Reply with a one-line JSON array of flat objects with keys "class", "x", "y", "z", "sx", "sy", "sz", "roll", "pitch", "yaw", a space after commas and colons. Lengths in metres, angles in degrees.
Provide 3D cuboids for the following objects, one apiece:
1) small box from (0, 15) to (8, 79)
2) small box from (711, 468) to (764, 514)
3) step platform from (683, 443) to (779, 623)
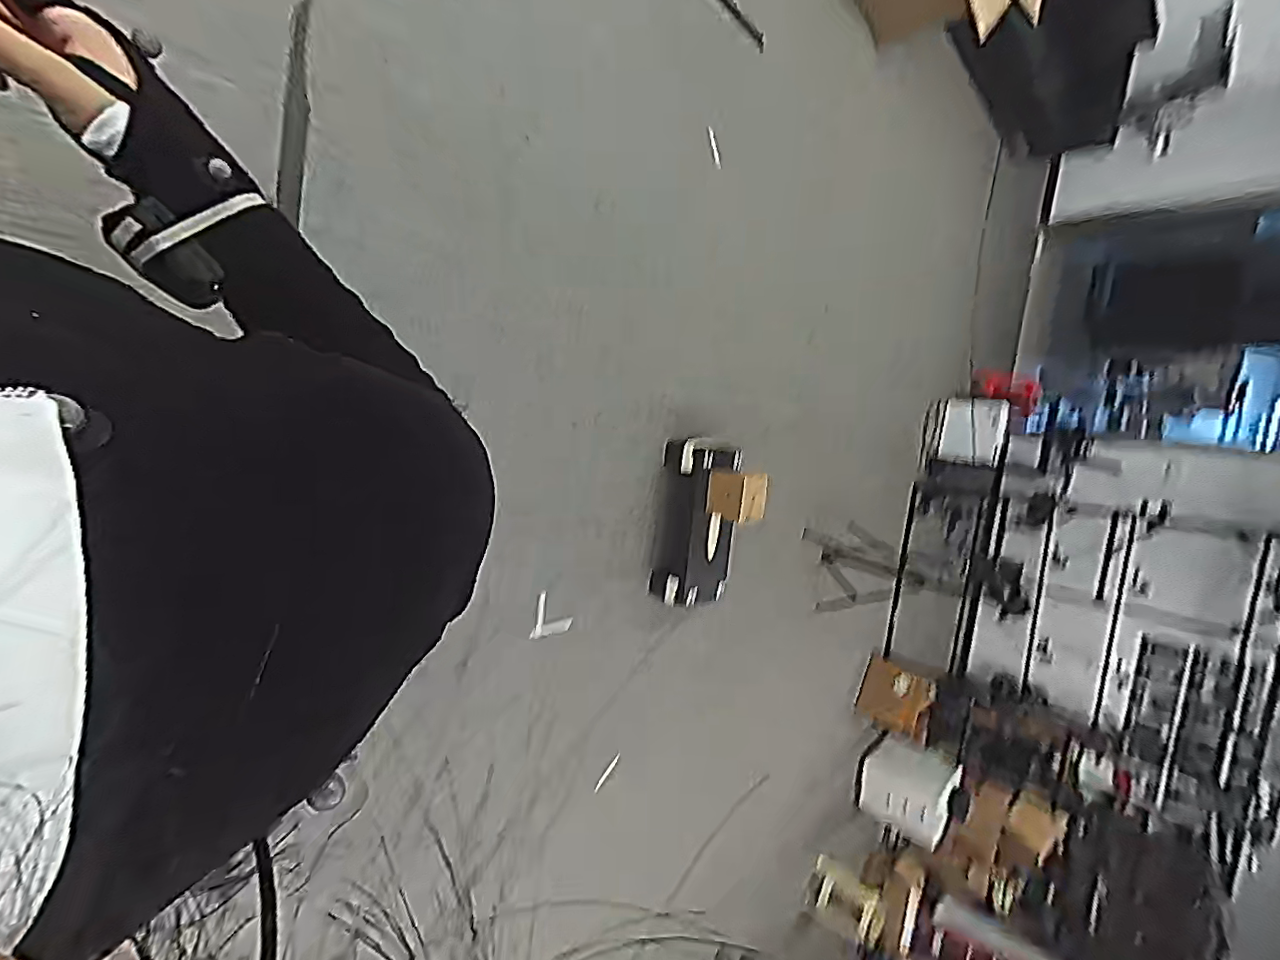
[{"class": "small box", "x": -0.470, "y": -0.314, "z": 0.264, "sx": 0.179, "sy": 0.176, "sz": 0.168, "roll": -23, "pitch": 120, "yaw": -37}, {"class": "small box", "x": 0.373, "y": 0.031, "z": 2.154, "sx": 0.168, "sy": 0.176, "sz": 0.179, "roll": -4, "pitch": 101, "yaw": -44}, {"class": "step platform", "x": 0.357, "y": 0.194, "z": 2.122, "sx": 0.286, "sy": 0.204, "sz": 0.684, "roll": 0, "pitch": 99, "yaw": -45}]
